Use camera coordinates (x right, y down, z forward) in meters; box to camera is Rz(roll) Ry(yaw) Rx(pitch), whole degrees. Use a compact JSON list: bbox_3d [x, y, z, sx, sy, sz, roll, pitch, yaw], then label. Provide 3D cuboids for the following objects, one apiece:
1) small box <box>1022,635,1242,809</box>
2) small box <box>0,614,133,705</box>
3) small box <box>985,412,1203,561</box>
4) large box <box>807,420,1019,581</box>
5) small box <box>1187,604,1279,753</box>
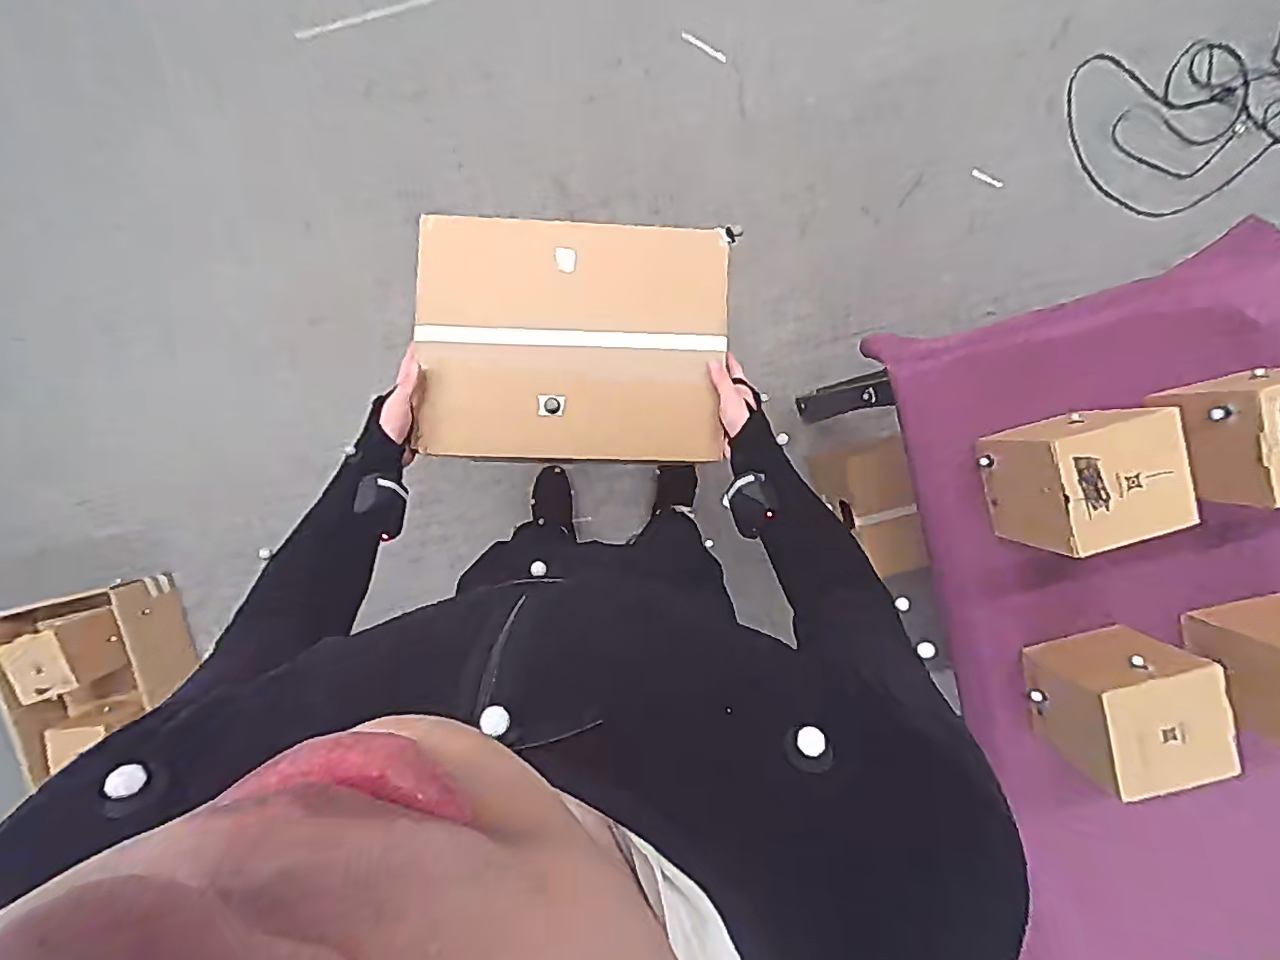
[{"bbox_3d":[0.734,0.354,0.823,0.179,0.176,0.168,-13,94,1],"label":"small box"},{"bbox_3d":[-1.609,0.494,1.527,0.168,0.176,0.179,-18,95,1],"label":"small box"},{"bbox_3d":[0.643,0.004,0.792,0.179,0.176,0.168,-16,95,0],"label":"small box"},{"bbox_3d":[0.722,0.043,1.461,0.408,0.320,0.320,-15,95,0],"label":"large box"},{"bbox_3d":[1.004,0.300,0.819,0.179,0.176,0.168,-12,95,2],"label":"small box"}]
